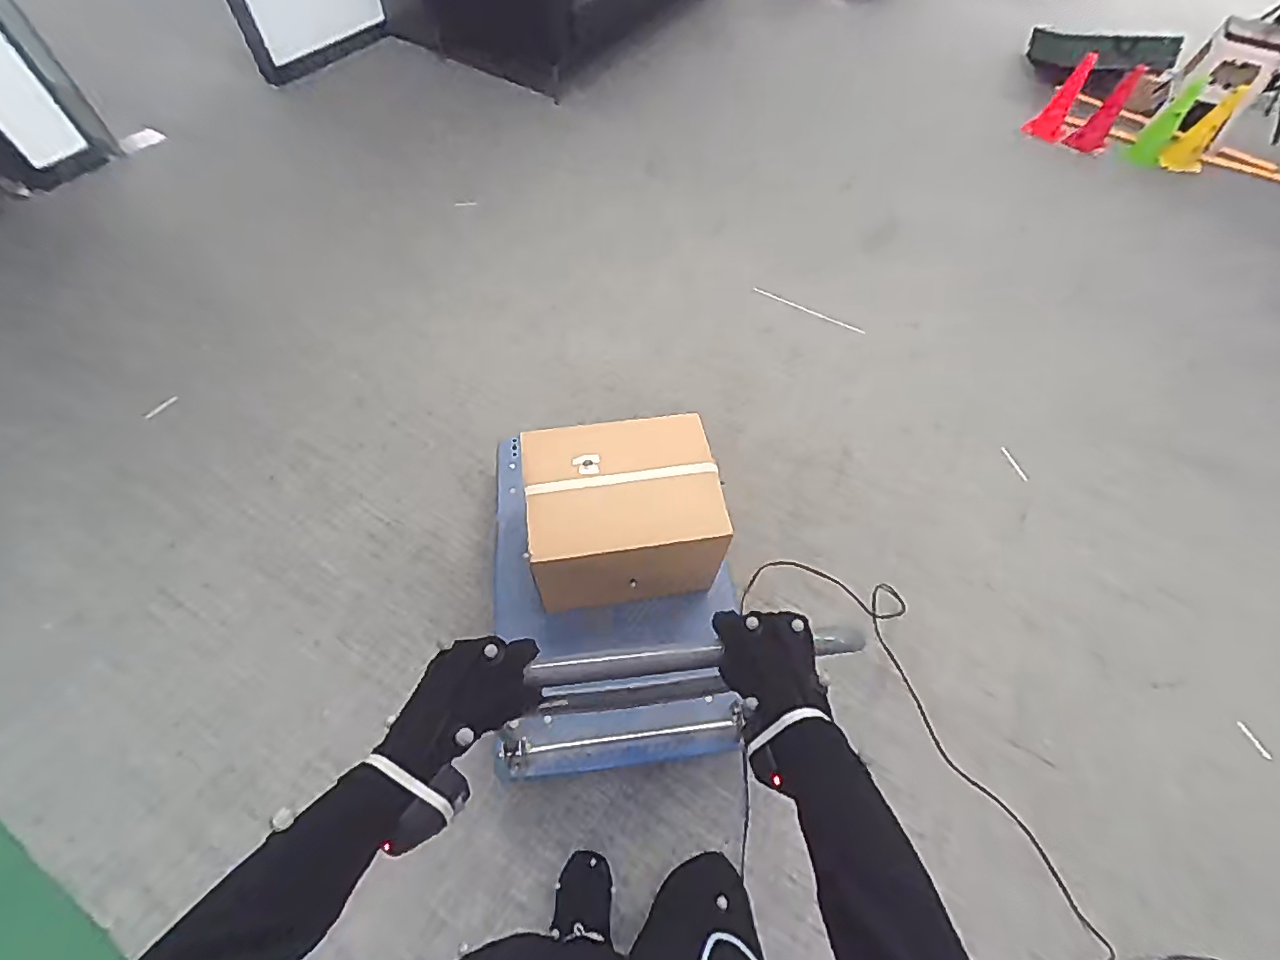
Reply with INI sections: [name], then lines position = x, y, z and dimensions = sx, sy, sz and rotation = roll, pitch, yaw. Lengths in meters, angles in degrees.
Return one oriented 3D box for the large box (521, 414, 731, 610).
[large box]
position = -0.043, 0.081, 1.256
dimensions = 0.408, 0.320, 0.320
rotation = -8, 59, -7
